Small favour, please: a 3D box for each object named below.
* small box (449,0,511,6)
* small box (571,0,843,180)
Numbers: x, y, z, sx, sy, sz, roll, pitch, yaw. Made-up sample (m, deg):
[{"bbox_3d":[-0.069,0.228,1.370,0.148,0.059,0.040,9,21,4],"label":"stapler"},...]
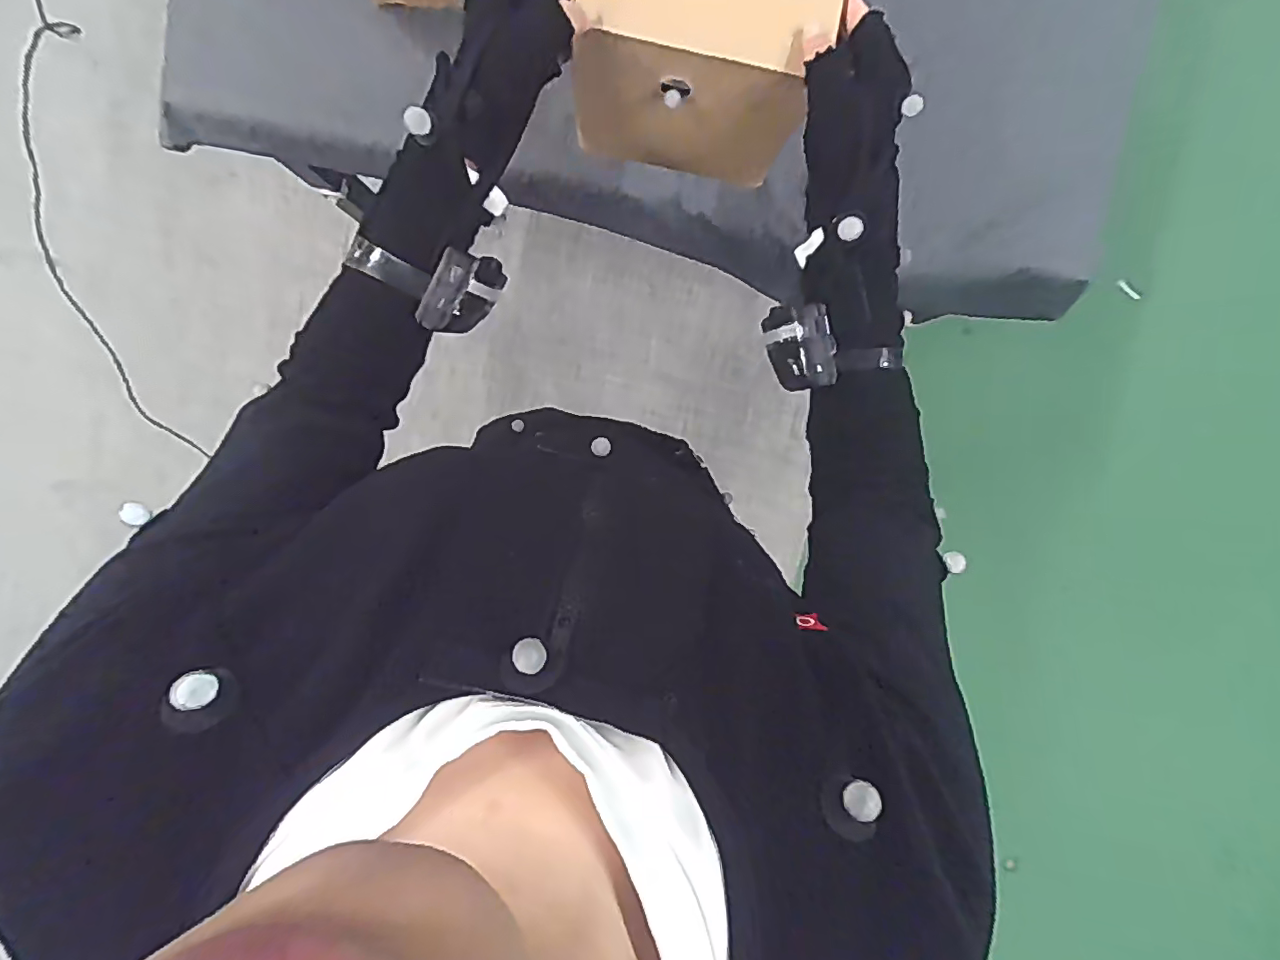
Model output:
[{"bbox_3d":[-0.228,-0.657,0.577,0.179,0.176,0.168,1,98,-3],"label":"small box"},{"bbox_3d":[0.050,-0.366,0.426,0.179,0.176,0.168,10,97,-5],"label":"small box"}]
